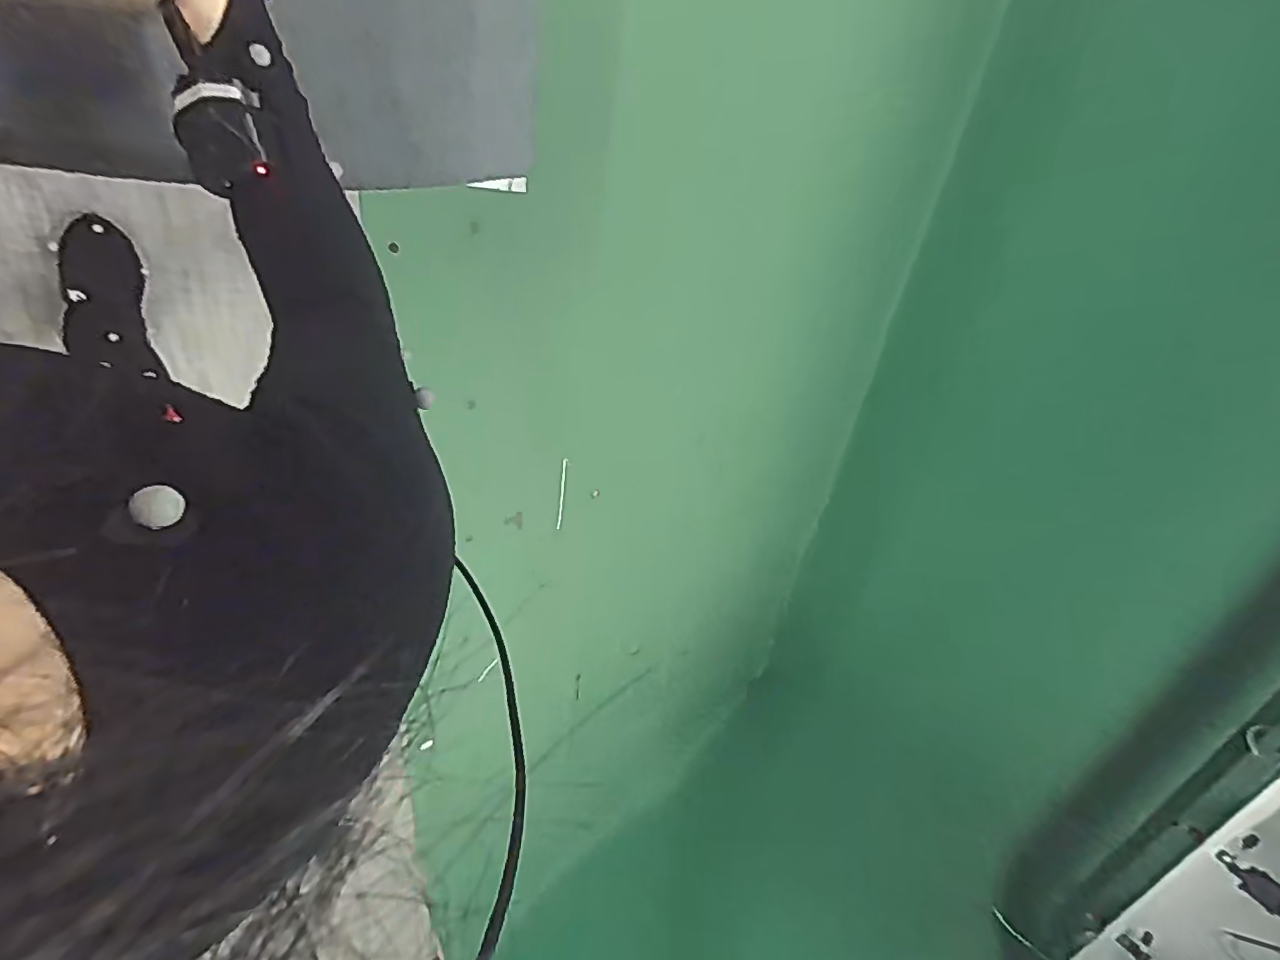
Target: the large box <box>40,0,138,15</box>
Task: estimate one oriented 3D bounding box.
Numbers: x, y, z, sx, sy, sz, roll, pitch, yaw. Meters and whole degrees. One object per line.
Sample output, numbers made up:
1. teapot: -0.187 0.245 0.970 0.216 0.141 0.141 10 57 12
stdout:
1. large box: -0.451 -0.402 0.163 0.408 0.320 0.320 -20 129 -40
